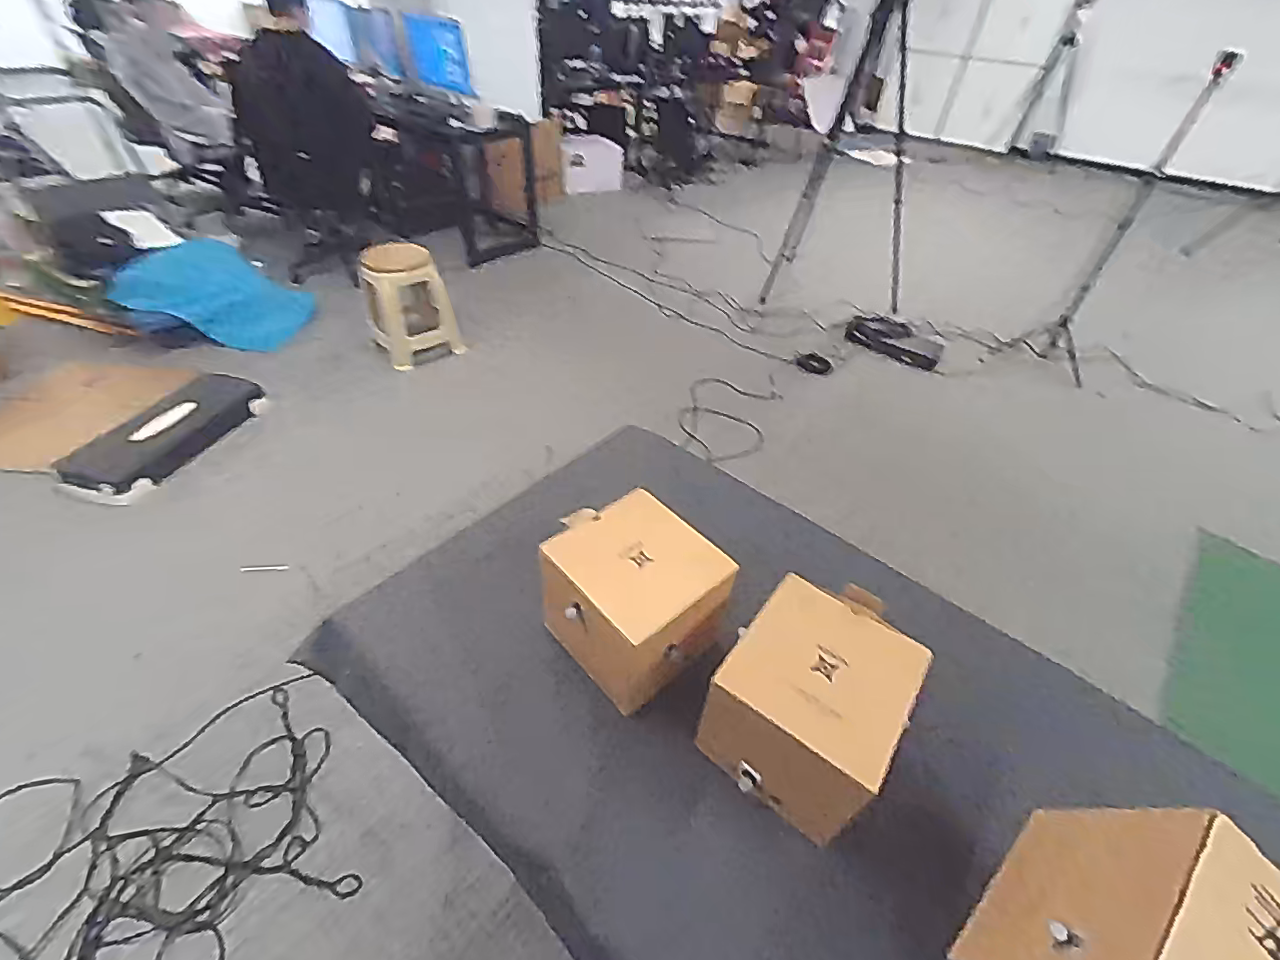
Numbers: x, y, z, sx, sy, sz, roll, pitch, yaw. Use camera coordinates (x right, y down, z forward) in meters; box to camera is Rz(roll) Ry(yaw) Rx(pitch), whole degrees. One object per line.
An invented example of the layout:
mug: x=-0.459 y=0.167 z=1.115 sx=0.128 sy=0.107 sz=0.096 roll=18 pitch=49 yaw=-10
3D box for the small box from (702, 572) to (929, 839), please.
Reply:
small box: x=0.183 y=0.244 z=0.597 sx=0.168 sy=0.176 sz=0.179 roll=28 pitch=47 yaw=25

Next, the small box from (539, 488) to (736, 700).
small box: x=-0.007 y=0.148 z=0.684 sx=0.168 sy=0.176 sz=0.179 roll=-30 pitch=52 yaw=-32
